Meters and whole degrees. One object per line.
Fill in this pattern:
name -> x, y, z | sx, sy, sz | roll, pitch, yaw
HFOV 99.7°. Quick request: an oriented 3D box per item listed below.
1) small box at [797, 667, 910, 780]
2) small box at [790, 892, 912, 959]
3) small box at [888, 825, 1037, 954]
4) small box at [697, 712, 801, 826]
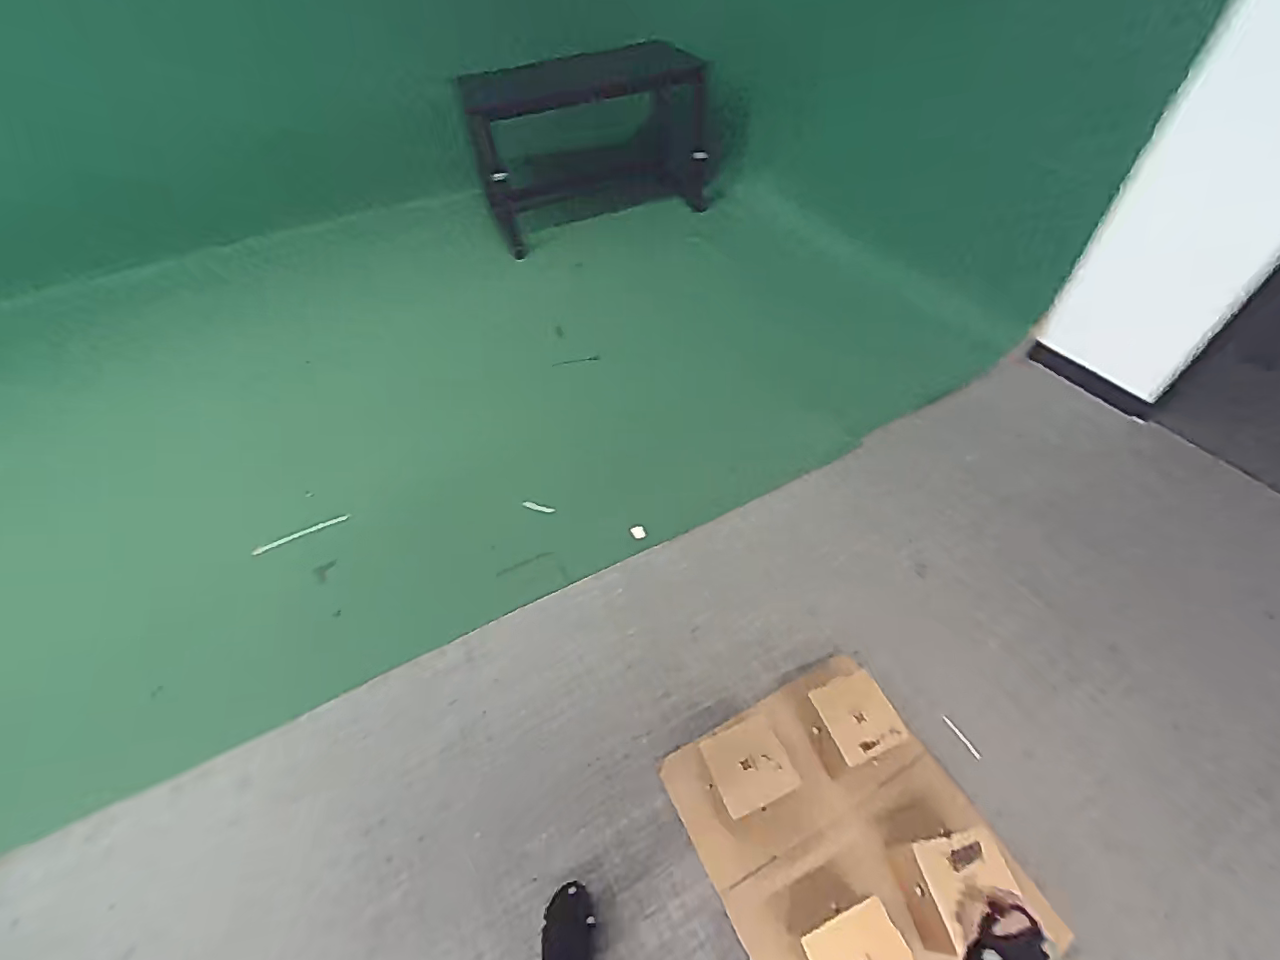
small box -> 0.501, 0.587, 1.300 | 0.168, 0.176, 0.179 | -17, 52, -11
small box -> 0.404, 0.922, 1.028 | 0.179, 0.176, 0.168 | -19, 53, -13
small box -> 0.633, 0.825, 1.091 | 0.168, 0.176, 0.179 | -10, 52, -5
small box -> 0.242, 0.670, 1.247 | 0.179, 0.176, 0.168 | -19, 53, -12
